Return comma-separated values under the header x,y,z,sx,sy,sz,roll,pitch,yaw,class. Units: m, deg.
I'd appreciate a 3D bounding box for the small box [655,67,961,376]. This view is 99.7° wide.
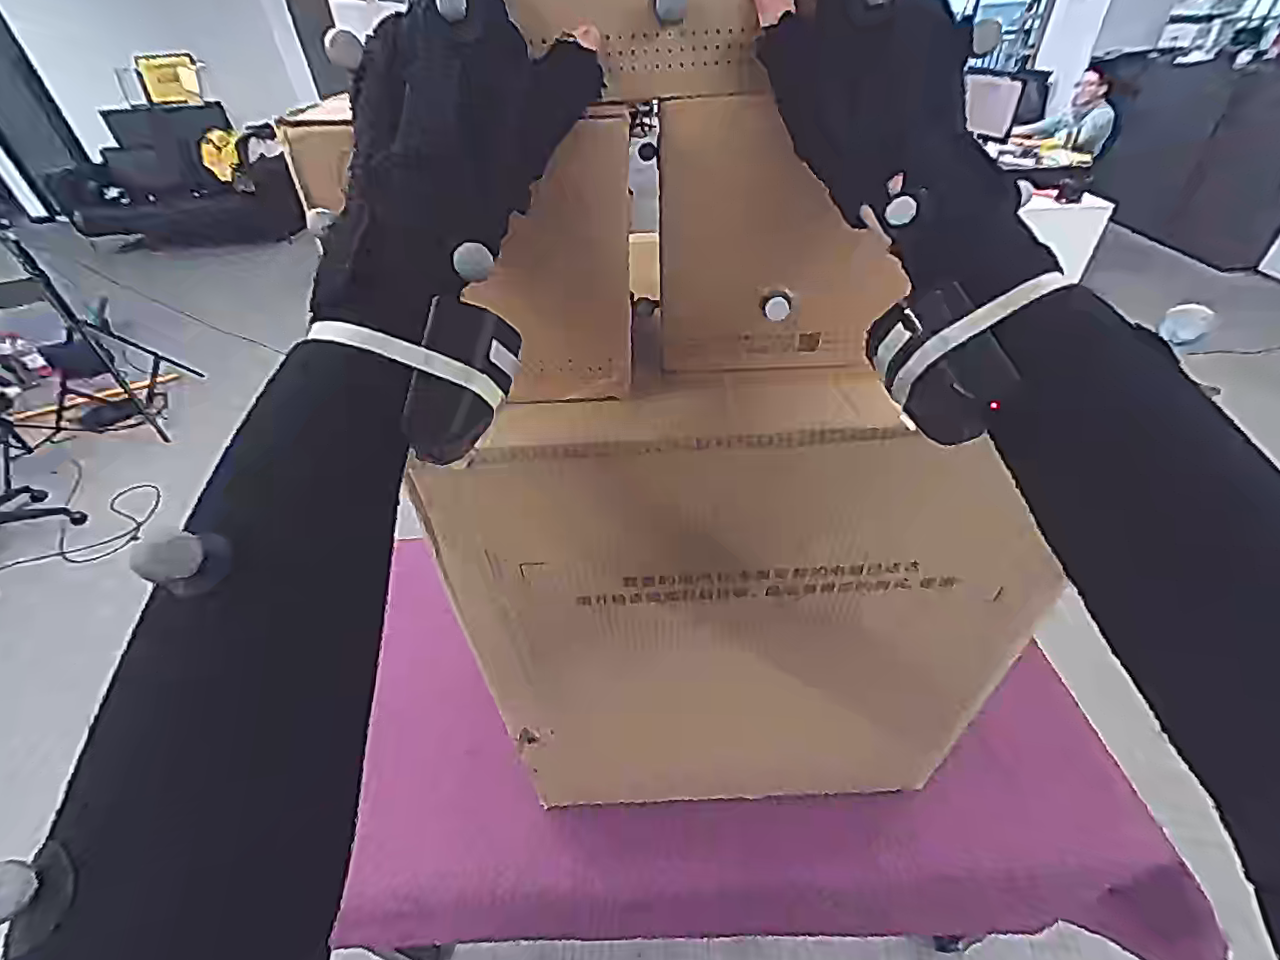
x,y,z,sx,sy,sz,roll,pitch,yaw,class
0.095,-0.193,0.404,0.168,0.176,0.179,-2,42,3,small box
